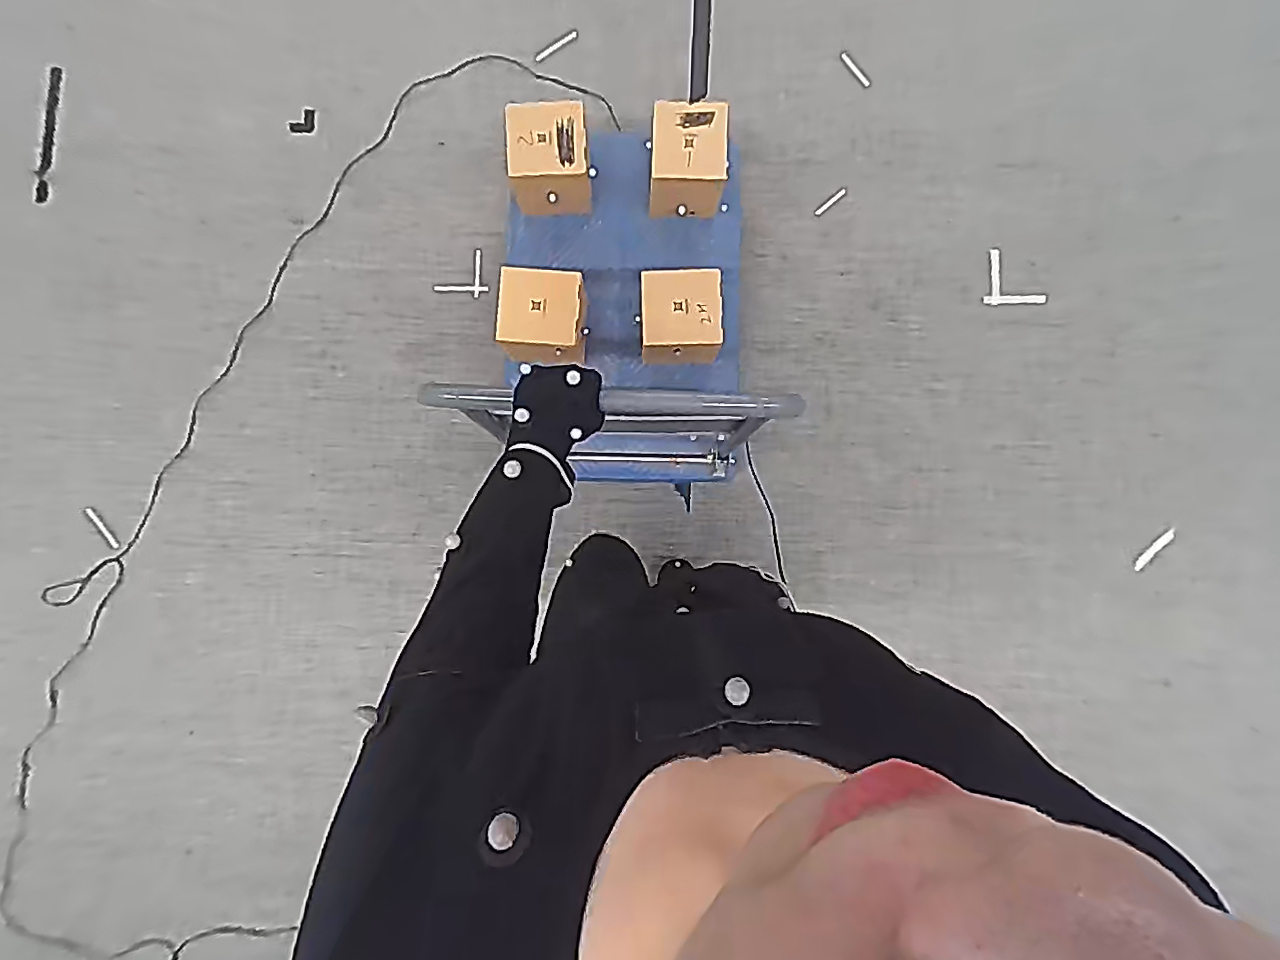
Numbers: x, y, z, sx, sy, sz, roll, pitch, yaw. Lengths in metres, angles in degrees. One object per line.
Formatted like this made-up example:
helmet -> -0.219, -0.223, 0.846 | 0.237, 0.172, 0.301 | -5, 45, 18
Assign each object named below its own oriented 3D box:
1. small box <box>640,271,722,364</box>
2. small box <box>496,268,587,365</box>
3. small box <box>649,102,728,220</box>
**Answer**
small box -> 0.091, -0.368, 1.251 | 0.179, 0.176, 0.168 | -2, 88, 0
small box -> -0.220, -0.369, 1.249 | 0.179, 0.176, 0.168 | 4, 87, -2
small box -> 0.108, -0.740, 1.266 | 0.168, 0.176, 0.179 | 2, 89, 0
